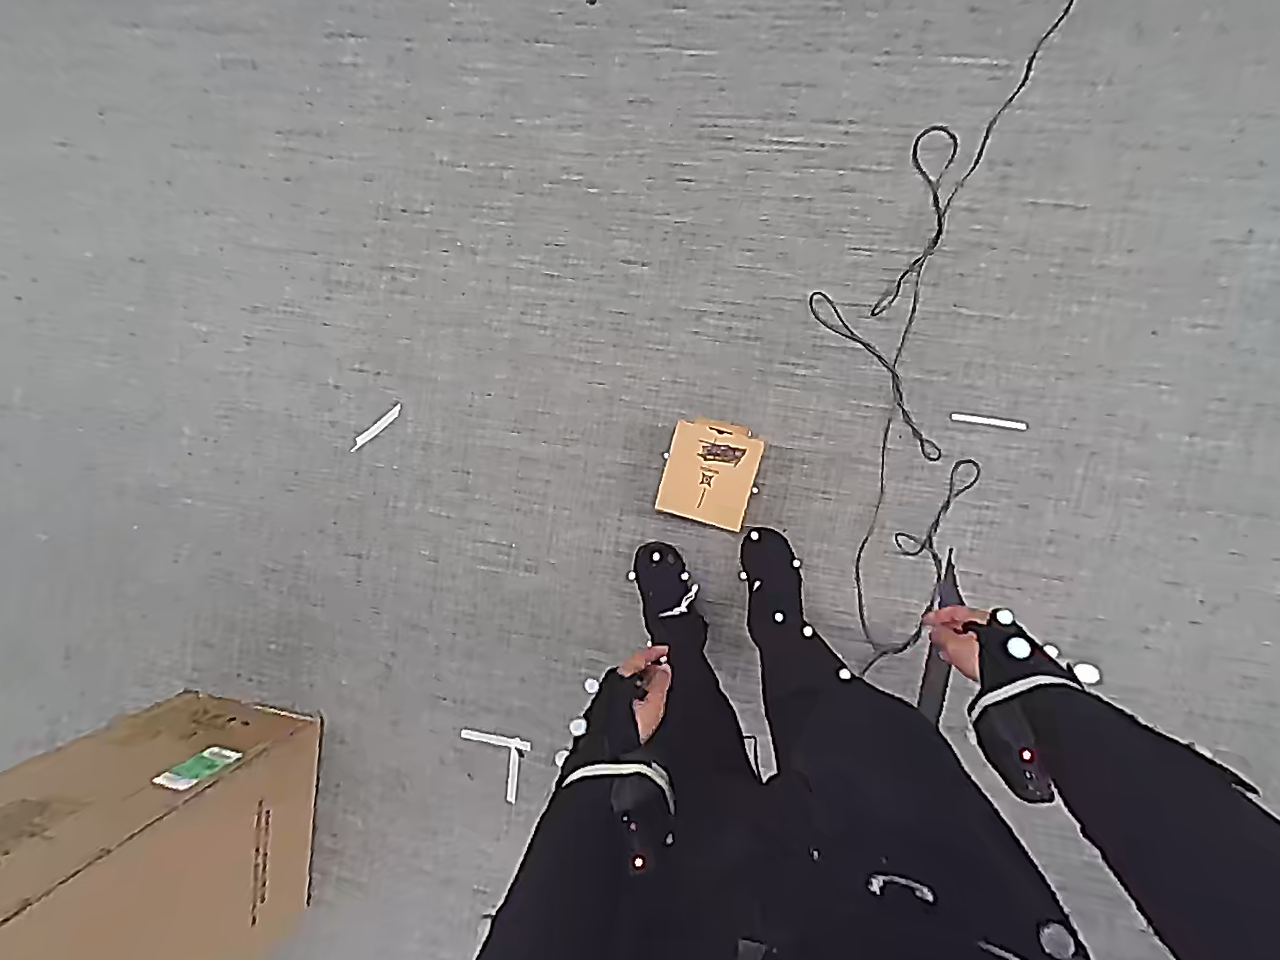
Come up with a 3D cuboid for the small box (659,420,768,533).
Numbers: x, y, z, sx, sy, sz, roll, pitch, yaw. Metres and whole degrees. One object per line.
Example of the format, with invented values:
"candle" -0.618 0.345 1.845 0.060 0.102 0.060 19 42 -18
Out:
"small box" 0.146 -0.011 1.075 0.168 0.176 0.179 16 96 9
